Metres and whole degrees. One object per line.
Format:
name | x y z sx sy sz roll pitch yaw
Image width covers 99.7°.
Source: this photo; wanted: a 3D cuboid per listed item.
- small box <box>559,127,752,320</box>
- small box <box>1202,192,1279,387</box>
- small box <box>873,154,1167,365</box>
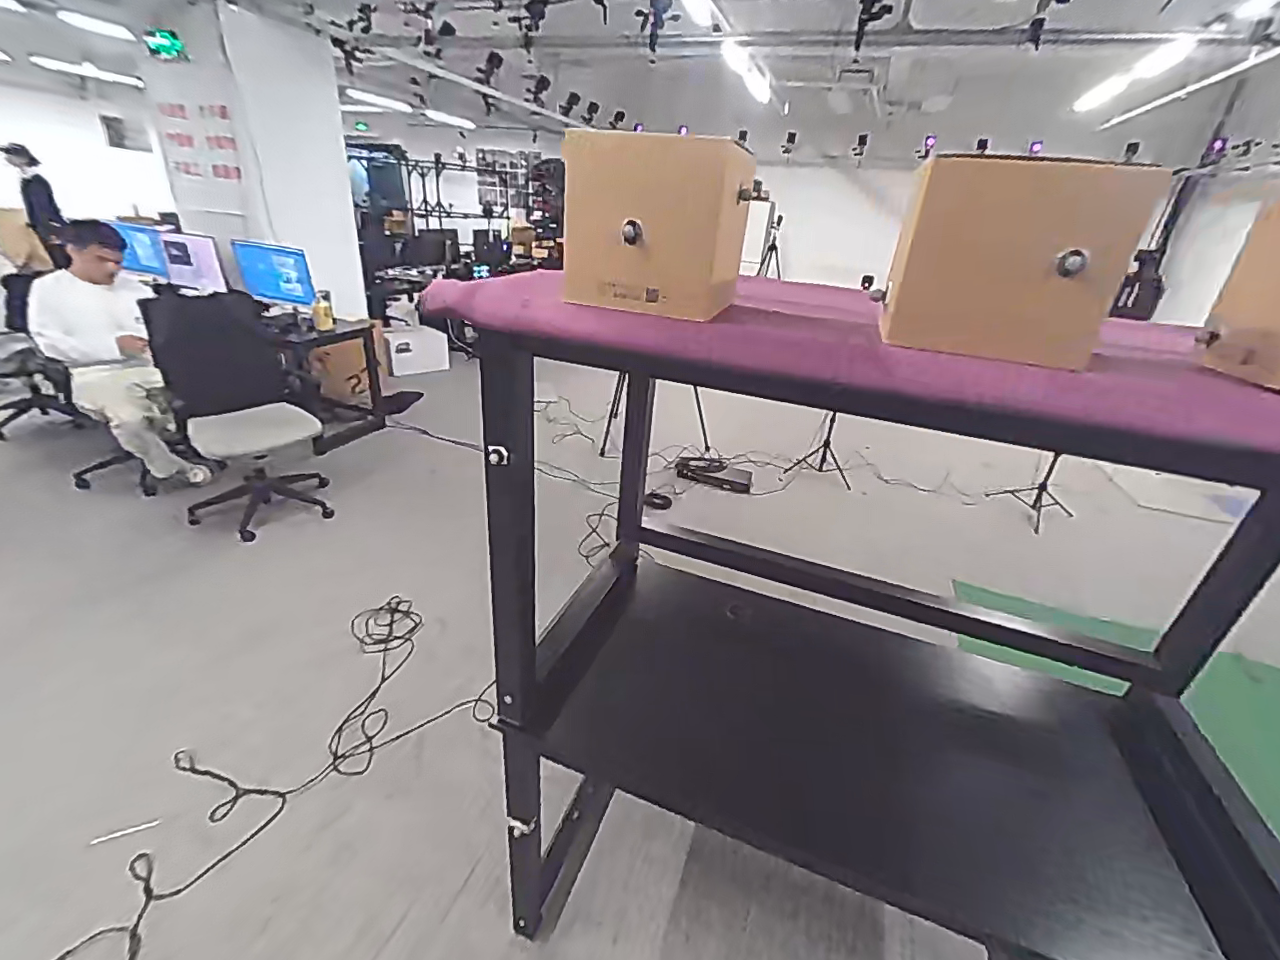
small box | 0.020 -0.286 0.611 0.168 0.176 0.179 13 28 14
small box | 0.660 -0.162 0.473 0.179 0.176 0.168 14 26 18
small box | 0.350 -0.219 0.544 0.179 0.176 0.168 12 27 15
